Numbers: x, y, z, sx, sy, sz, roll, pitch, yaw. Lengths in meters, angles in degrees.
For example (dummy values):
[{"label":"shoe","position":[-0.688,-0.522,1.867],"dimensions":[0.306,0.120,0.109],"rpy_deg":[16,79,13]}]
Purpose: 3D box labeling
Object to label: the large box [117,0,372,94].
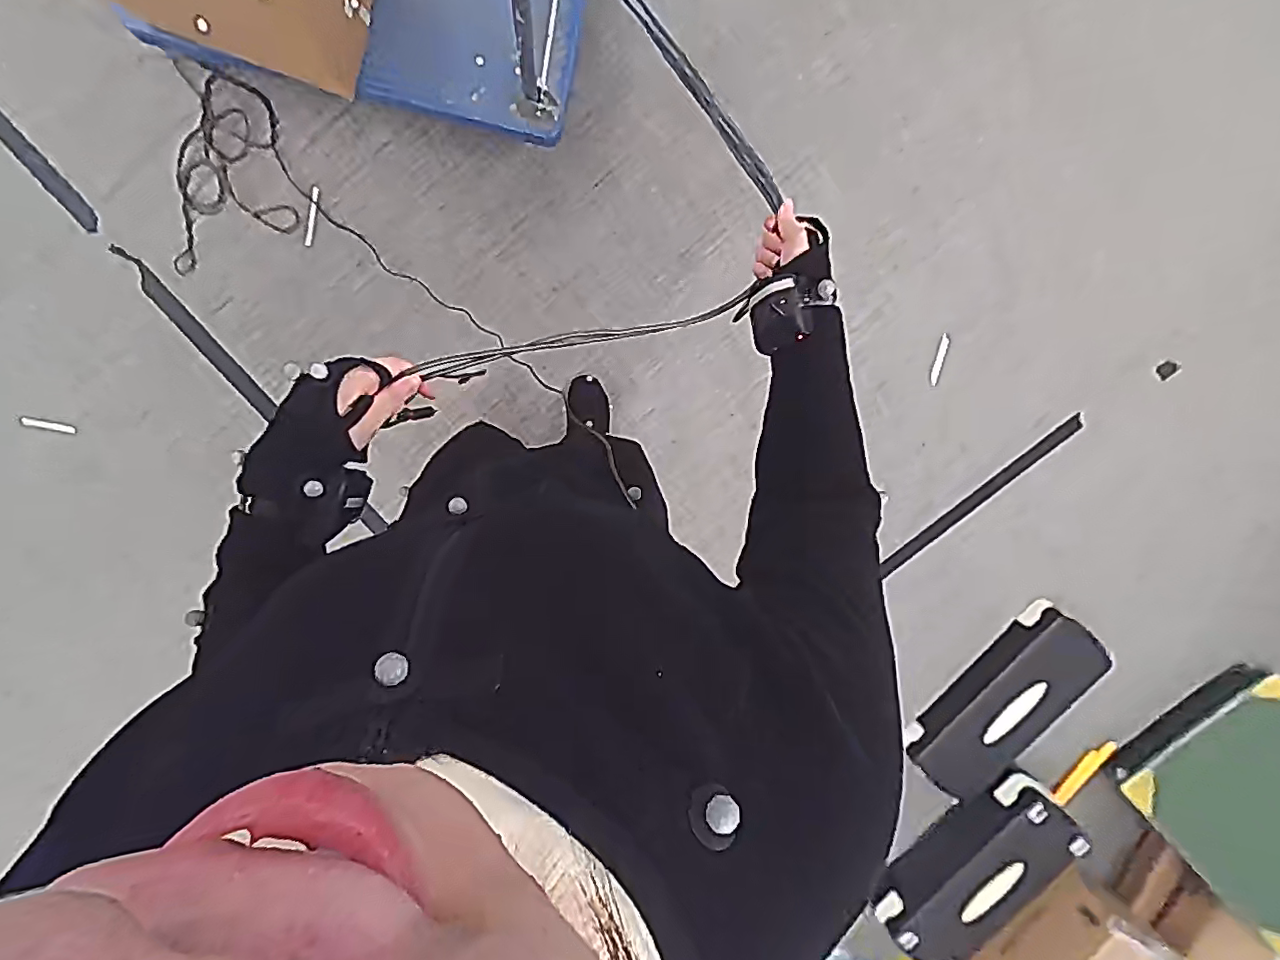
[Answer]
[{"label":"large box","position":[-0.713,-0.944,0.908],"dimensions":[0.408,0.320,0.320],"rpy_deg":[16,99,-8]}]
